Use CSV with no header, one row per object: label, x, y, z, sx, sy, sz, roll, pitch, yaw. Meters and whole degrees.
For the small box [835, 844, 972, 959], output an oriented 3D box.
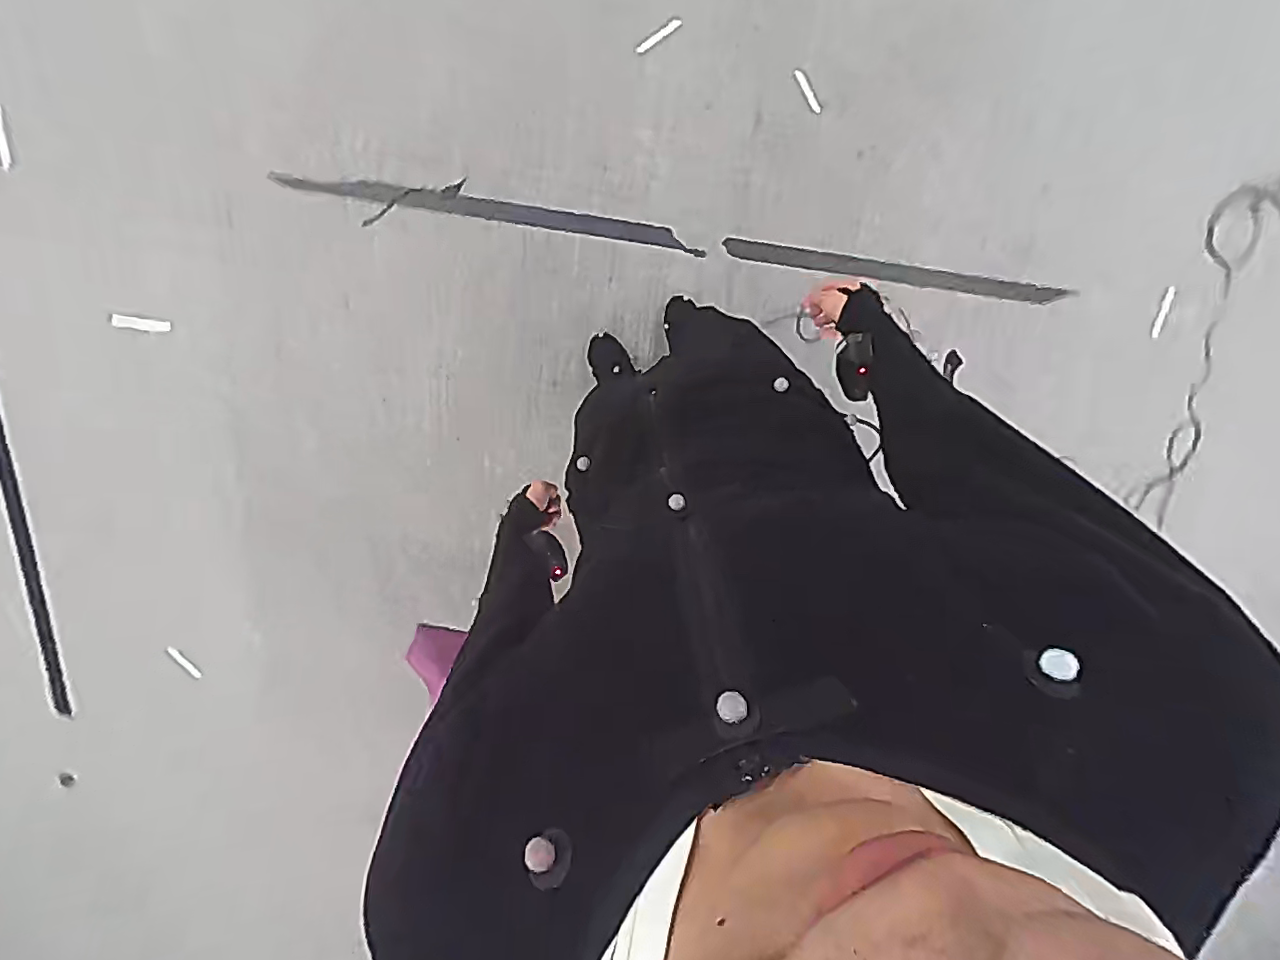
small box,0.526,0.890,1.108,0.168,0.176,0.179,12,106,-6
